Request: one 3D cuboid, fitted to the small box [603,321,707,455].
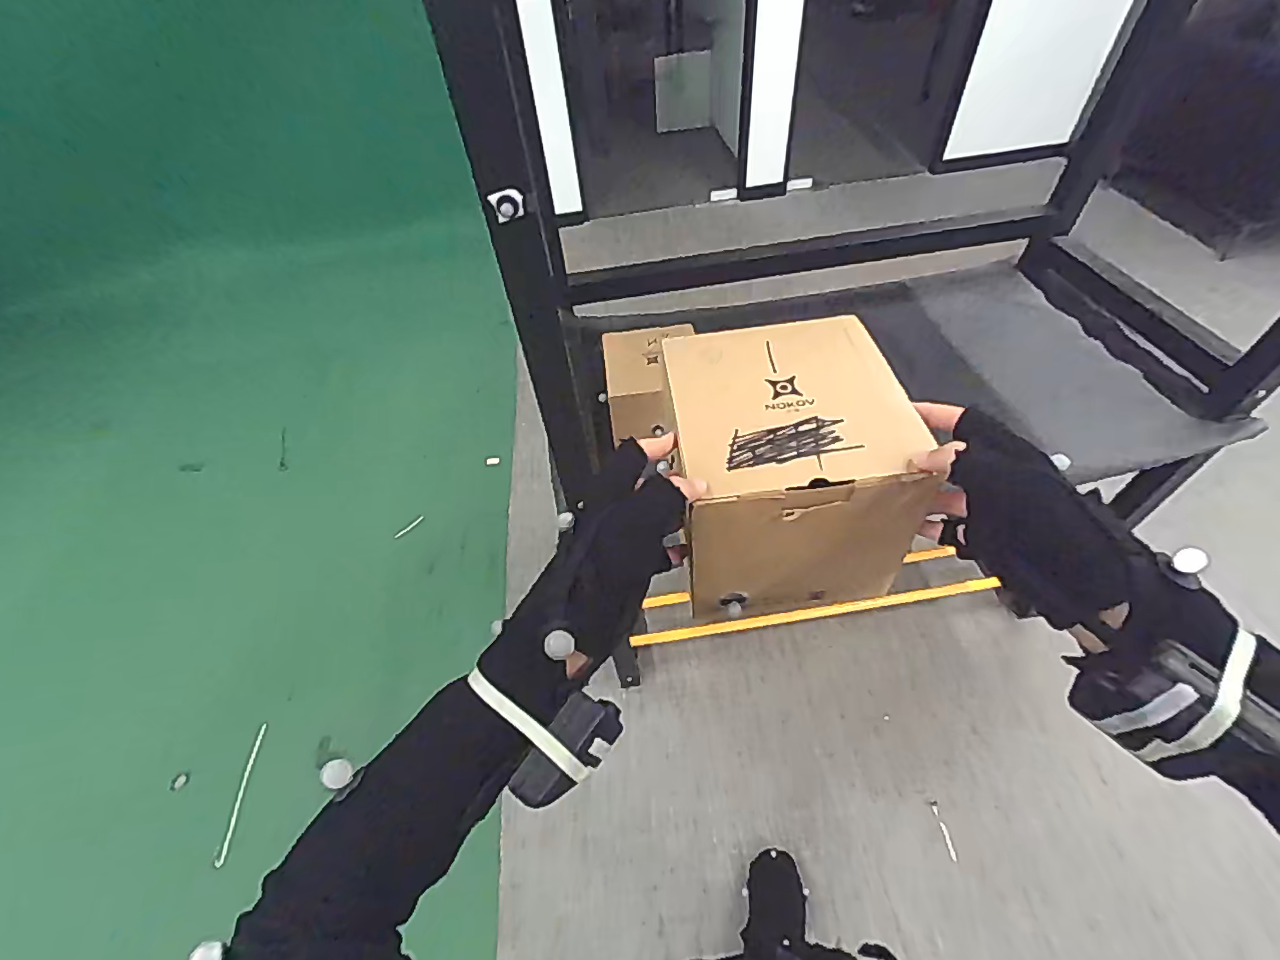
[{"bbox_3d":[0.027,-0.158,0.973,0.168,0.176,0.179,-7,50,-1],"label":"small box"}]
